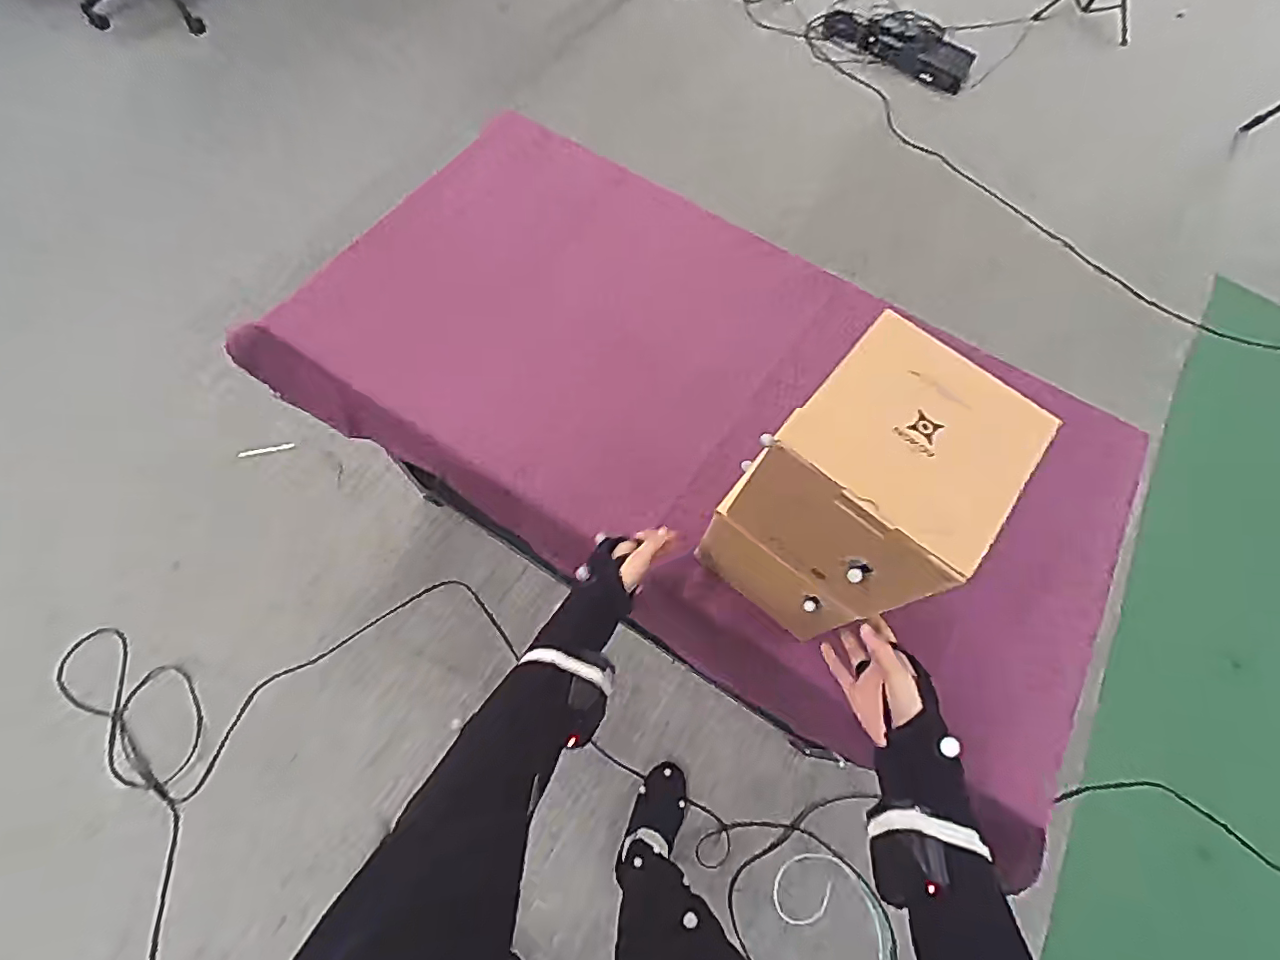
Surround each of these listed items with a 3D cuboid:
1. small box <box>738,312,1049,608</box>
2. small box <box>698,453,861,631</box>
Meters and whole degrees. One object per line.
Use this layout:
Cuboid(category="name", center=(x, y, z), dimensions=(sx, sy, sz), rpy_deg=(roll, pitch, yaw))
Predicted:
Cuboid(category="small box", center=(0.209, -0.007, 0.496), dimensions=(0.168, 0.176, 0.179), rpy_deg=(39, 68, 12))
Cuboid(category="small box", center=(0.189, 0.058, 0.644), dimensions=(0.179, 0.176, 0.168), rpy_deg=(37, 68, 12))
